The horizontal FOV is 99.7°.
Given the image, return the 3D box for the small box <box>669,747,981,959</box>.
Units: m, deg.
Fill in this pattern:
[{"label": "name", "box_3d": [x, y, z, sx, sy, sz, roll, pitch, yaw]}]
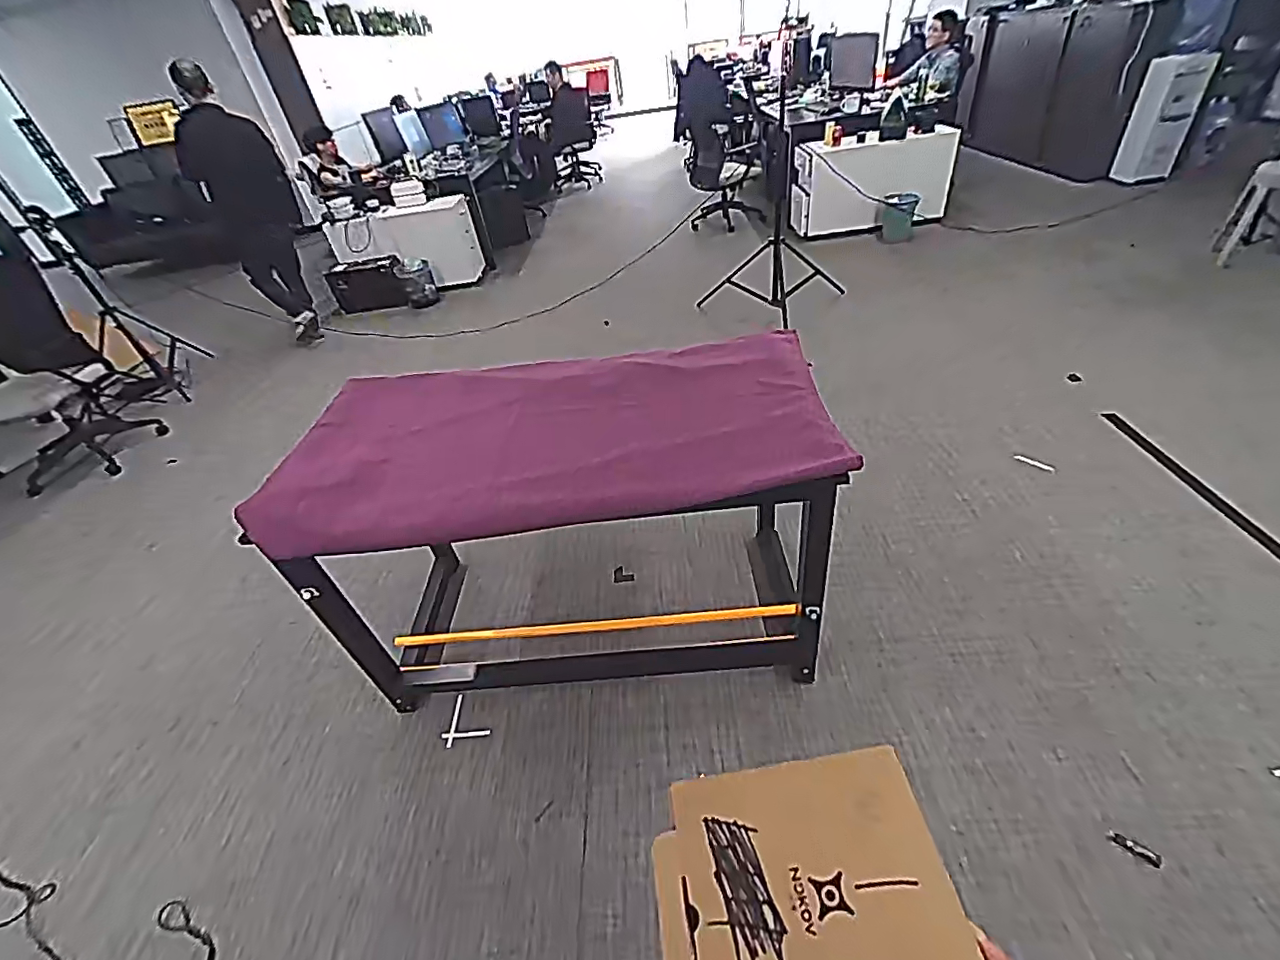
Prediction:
[{"label": "small box", "box_3d": [0.127, 0.331, 0.414, 0.179, 0.176, 0.168, -10, 45, 1]}]
